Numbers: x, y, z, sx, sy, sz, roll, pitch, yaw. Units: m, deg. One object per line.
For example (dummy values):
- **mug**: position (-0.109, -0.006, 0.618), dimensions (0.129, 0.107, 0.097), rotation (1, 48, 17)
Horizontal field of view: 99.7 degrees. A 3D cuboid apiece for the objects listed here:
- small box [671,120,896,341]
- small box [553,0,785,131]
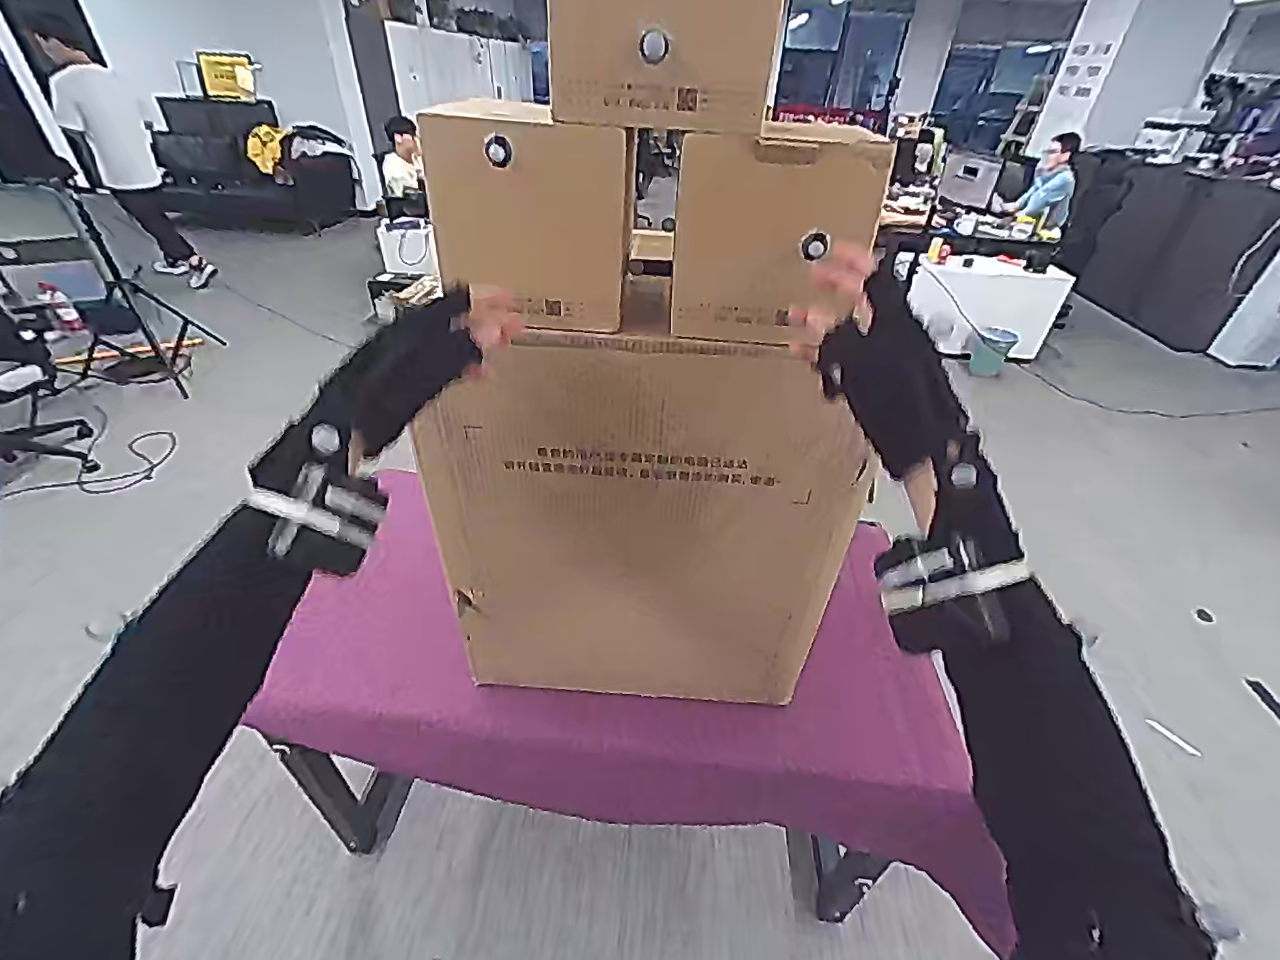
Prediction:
- **small box**: position (0.122, -0.246, 0.525), dimensions (0.168, 0.176, 0.179), rotation (6, 35, 4)
- **small box**: position (0.020, -0.390, 0.437), dimensions (0.168, 0.176, 0.179), rotation (2, 37, -2)
